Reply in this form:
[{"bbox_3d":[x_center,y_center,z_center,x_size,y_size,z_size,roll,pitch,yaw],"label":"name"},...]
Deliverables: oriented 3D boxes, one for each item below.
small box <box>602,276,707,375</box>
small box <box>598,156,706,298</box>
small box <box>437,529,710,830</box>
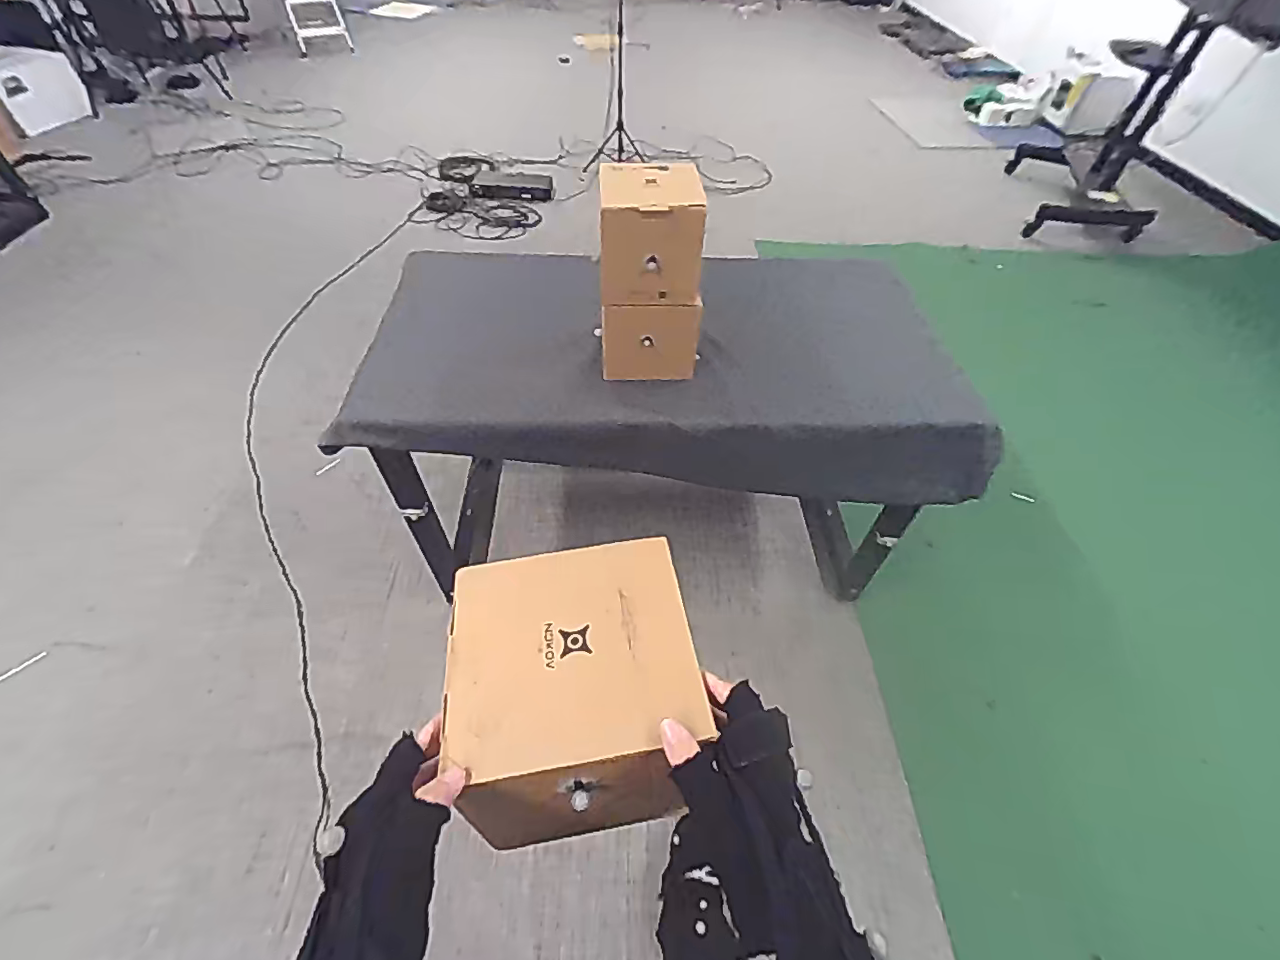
[{"bbox_3d":[0.019,-0.317,1.040,0.179,0.176,0.168,-3,51,-6],"label":"small box"},{"bbox_3d":[0.015,-0.426,0.917,0.168,0.176,0.179,-1,51,-3],"label":"small box"},{"bbox_3d":[-0.050,0.166,0.448,0.179,0.176,0.168,-8,47,-7],"label":"small box"}]
